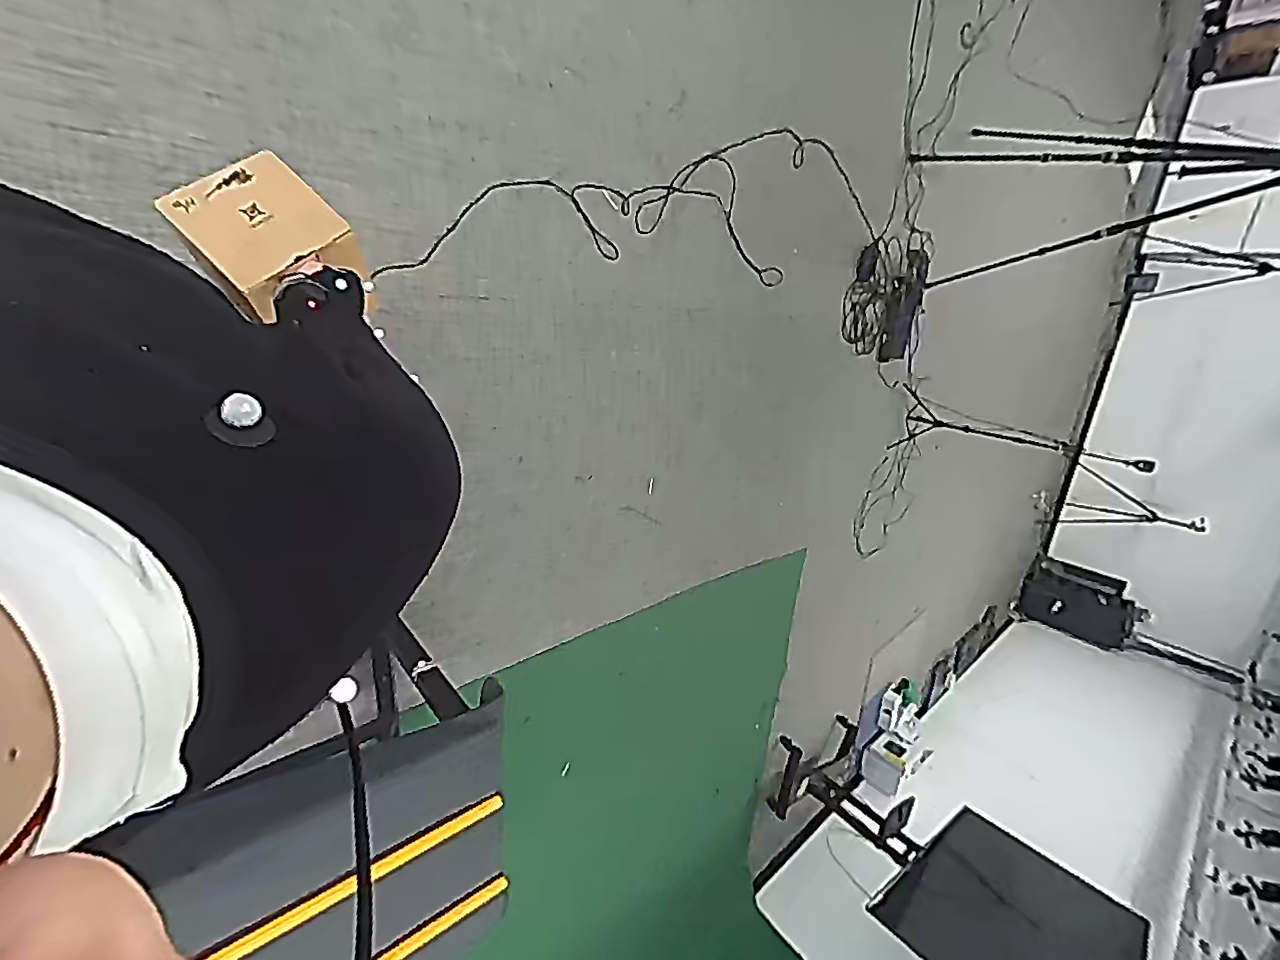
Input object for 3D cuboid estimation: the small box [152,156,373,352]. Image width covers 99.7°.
[{"bbox_3d":[-0.529,-0.315,0.792,0.168,0.179,0.176,-47,176,-21],"label":"small box"}]
